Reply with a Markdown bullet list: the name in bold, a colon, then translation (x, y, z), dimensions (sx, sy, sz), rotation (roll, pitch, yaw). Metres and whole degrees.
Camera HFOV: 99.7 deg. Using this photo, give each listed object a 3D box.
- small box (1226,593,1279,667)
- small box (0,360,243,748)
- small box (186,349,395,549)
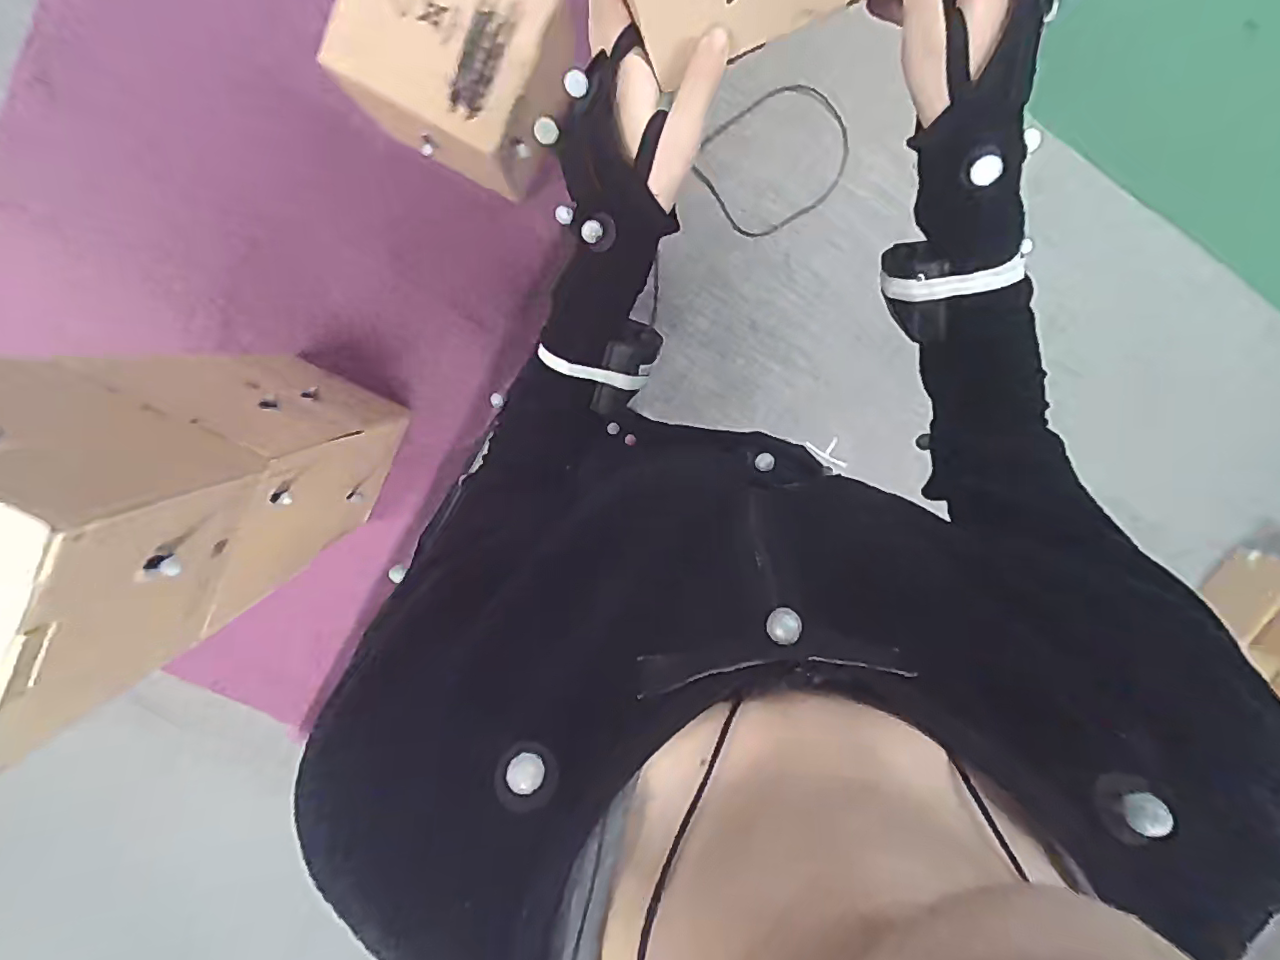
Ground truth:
- **small box**: translation (1.955, 0.473, 1.635), dimensions (0.168, 0.176, 0.179), rotation (27, 96, -9)
- **small box**: translation (-0.395, 0.033, 0.324), dimensions (0.179, 0.176, 0.168), rotation (29, 97, -8)
- **small box**: translation (-0.420, -0.038, 0.641), dimensions (0.168, 0.176, 0.179), rotation (26, 100, -10)
